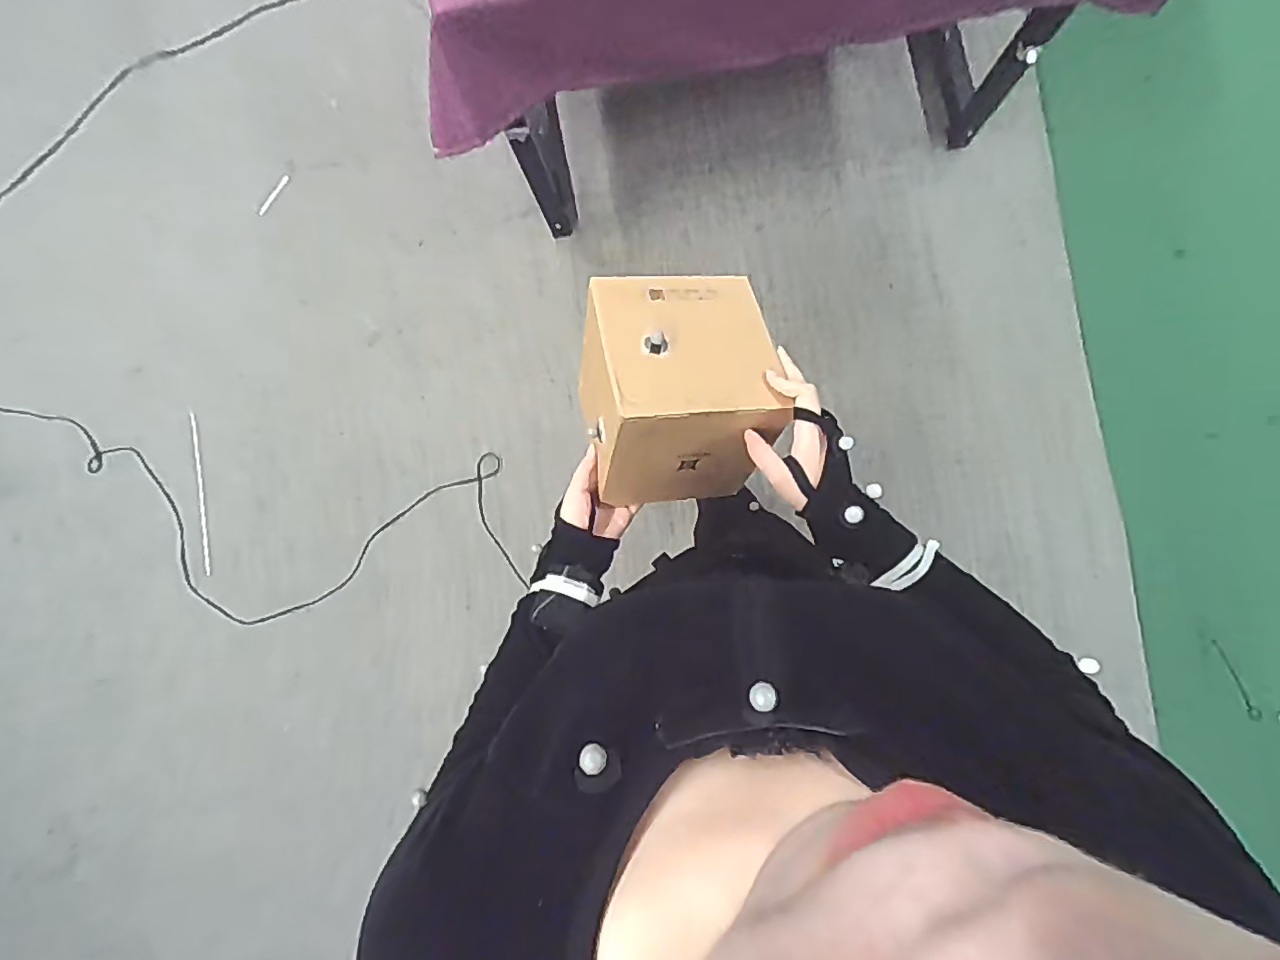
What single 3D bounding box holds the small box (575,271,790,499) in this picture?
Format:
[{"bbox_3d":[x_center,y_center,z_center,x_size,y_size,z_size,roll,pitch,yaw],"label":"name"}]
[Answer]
[{"bbox_3d":[0.027,-0.098,0.571,0.168,0.179,0.176,-5,64,-14],"label":"small box"}]
